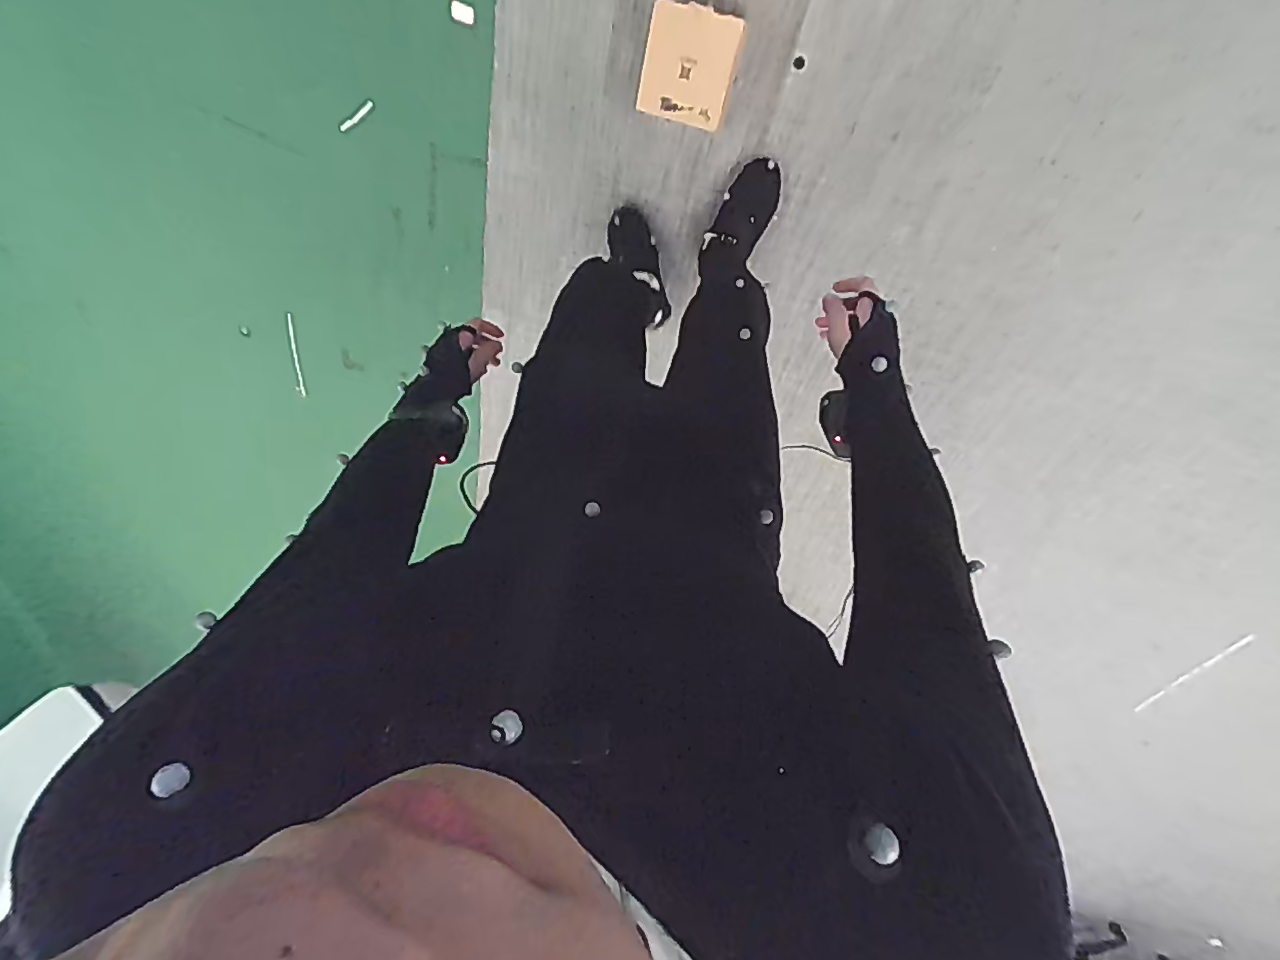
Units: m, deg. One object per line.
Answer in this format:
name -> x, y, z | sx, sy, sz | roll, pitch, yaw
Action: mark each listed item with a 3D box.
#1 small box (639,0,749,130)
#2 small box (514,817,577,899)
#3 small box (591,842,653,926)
small box -> 0.110, -0.814, 1.060 | 0.168, 0.176, 0.179 | 18, 128, 2
small box -> -0.327, 1.314, 1.884 | 0.168, 0.176, 0.179 | 17, 129, 2
small box -> -0.059, 1.400, 1.876 | 0.168, 0.176, 0.179 | 16, 128, 4
